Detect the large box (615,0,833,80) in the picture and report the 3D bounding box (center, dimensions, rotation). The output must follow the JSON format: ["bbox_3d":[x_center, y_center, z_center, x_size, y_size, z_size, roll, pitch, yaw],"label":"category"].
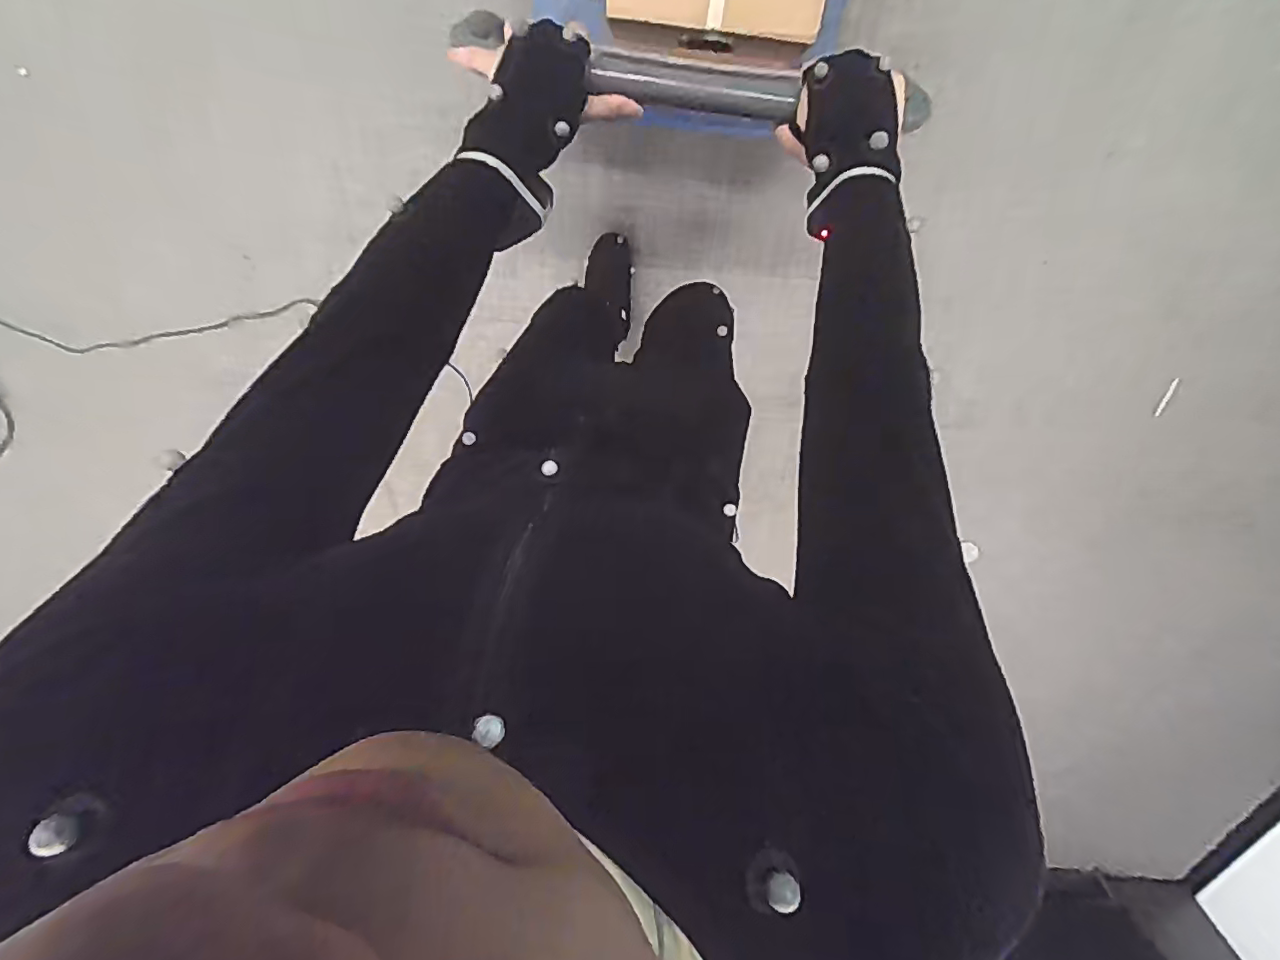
[{"bbox_3d":[0.140,-0.892,0.824,0.320,0.320,0.408,6,118,-2],"label":"large box"}]
